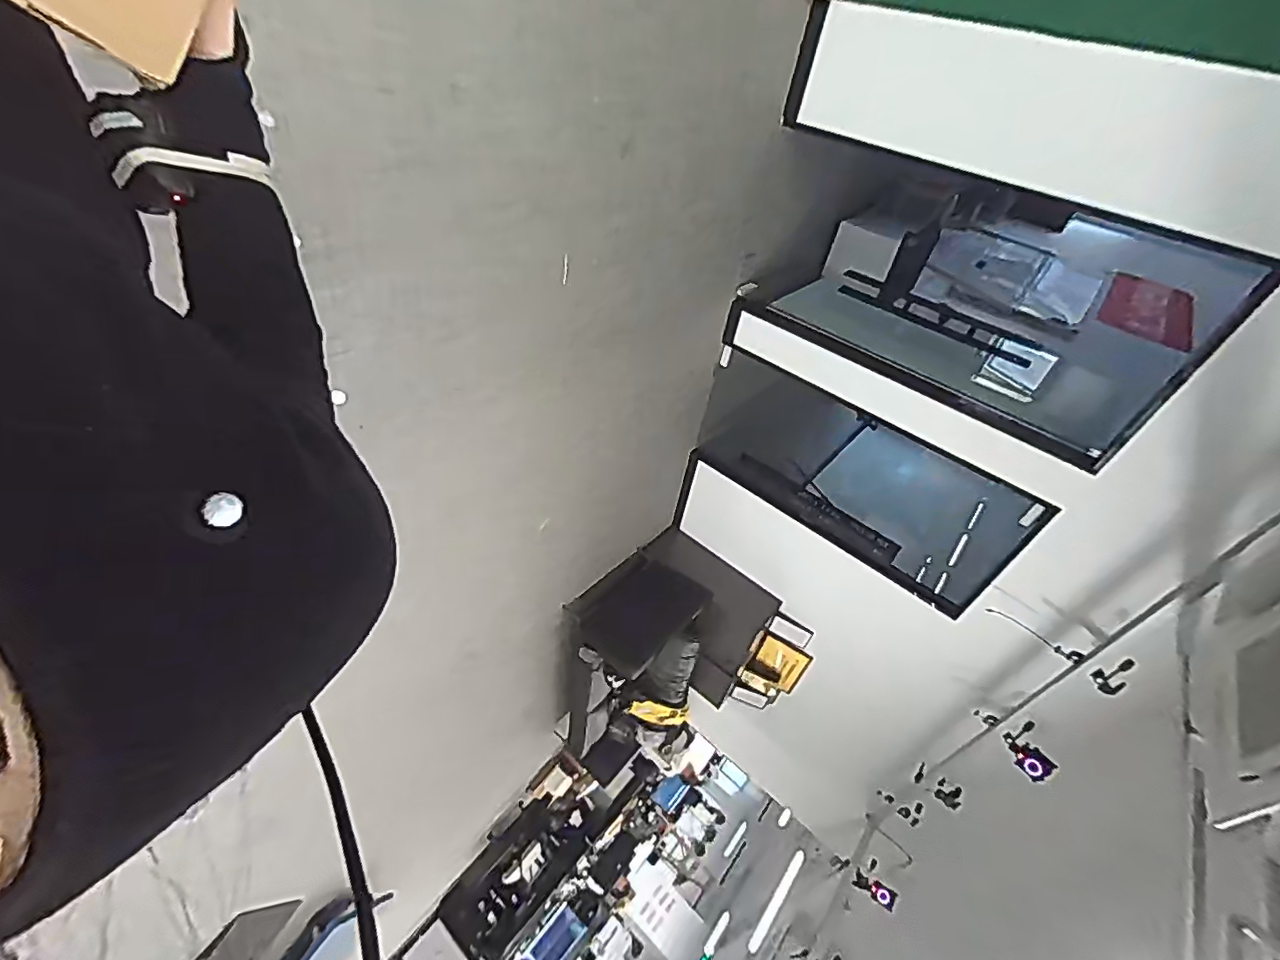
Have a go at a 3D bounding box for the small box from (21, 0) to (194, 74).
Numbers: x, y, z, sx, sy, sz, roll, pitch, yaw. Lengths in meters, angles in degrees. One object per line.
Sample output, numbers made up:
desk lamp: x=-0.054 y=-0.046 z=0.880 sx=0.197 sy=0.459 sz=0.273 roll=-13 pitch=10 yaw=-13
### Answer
small box: x=-0.327 y=-0.354 z=0.250 sx=0.179 sy=0.176 sz=0.168 roll=-59 pitch=162 yaw=9
